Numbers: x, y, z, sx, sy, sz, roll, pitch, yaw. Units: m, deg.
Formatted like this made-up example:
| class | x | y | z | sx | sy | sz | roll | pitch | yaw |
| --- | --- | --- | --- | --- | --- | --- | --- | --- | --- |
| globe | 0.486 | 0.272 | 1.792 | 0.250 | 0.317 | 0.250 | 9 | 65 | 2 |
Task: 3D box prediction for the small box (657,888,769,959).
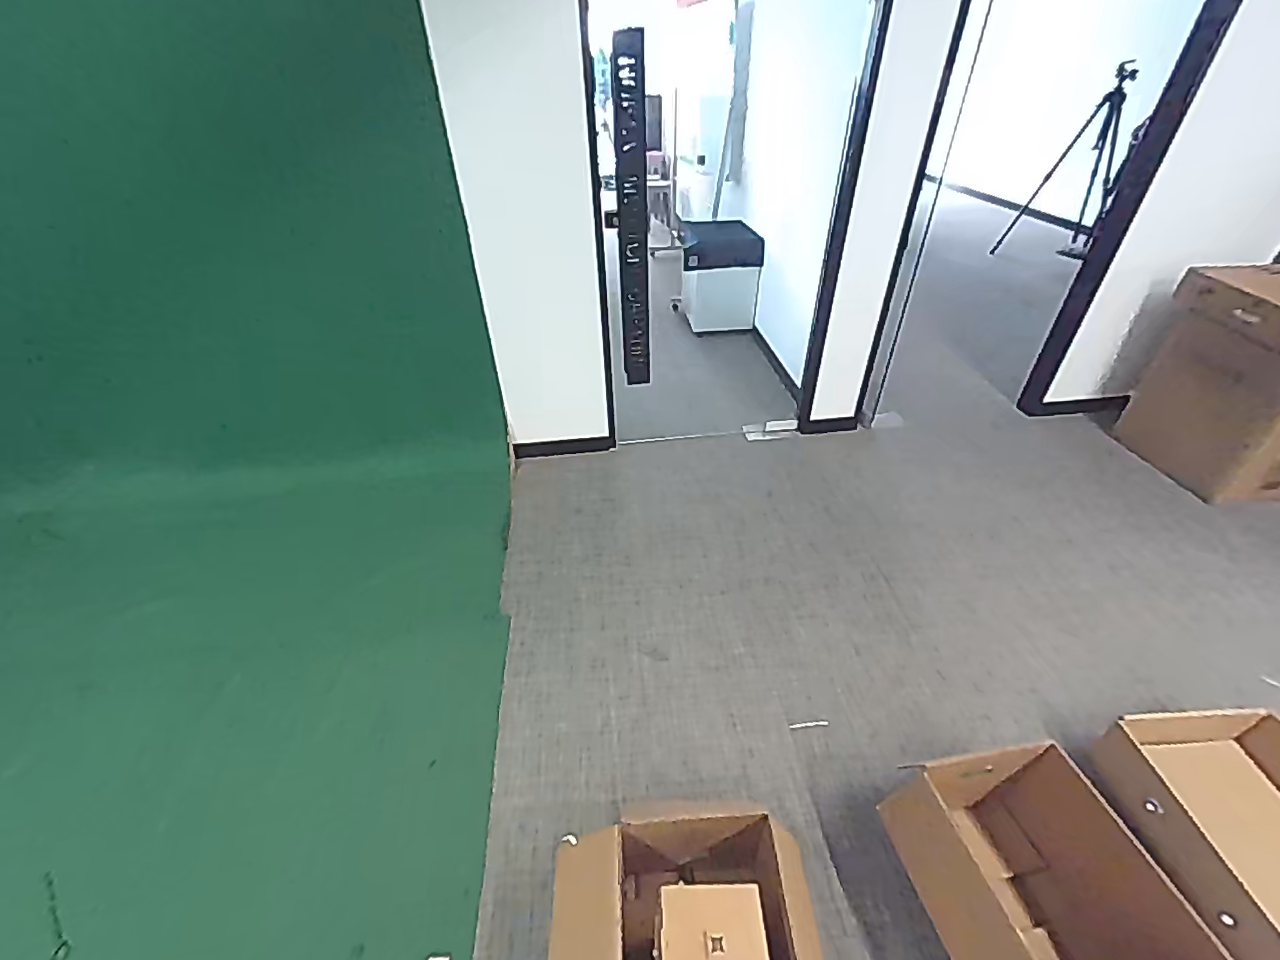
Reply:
| class | x | y | z | sx | sy | sz | roll | pitch | yaw |
| --- | --- | --- | --- | --- | --- | --- | --- | --- | --- |
| small box | 0.122 | 0.834 | 0.939 | 0.179 | 0.176 | 0.168 | -1 | 37 | -1 |
